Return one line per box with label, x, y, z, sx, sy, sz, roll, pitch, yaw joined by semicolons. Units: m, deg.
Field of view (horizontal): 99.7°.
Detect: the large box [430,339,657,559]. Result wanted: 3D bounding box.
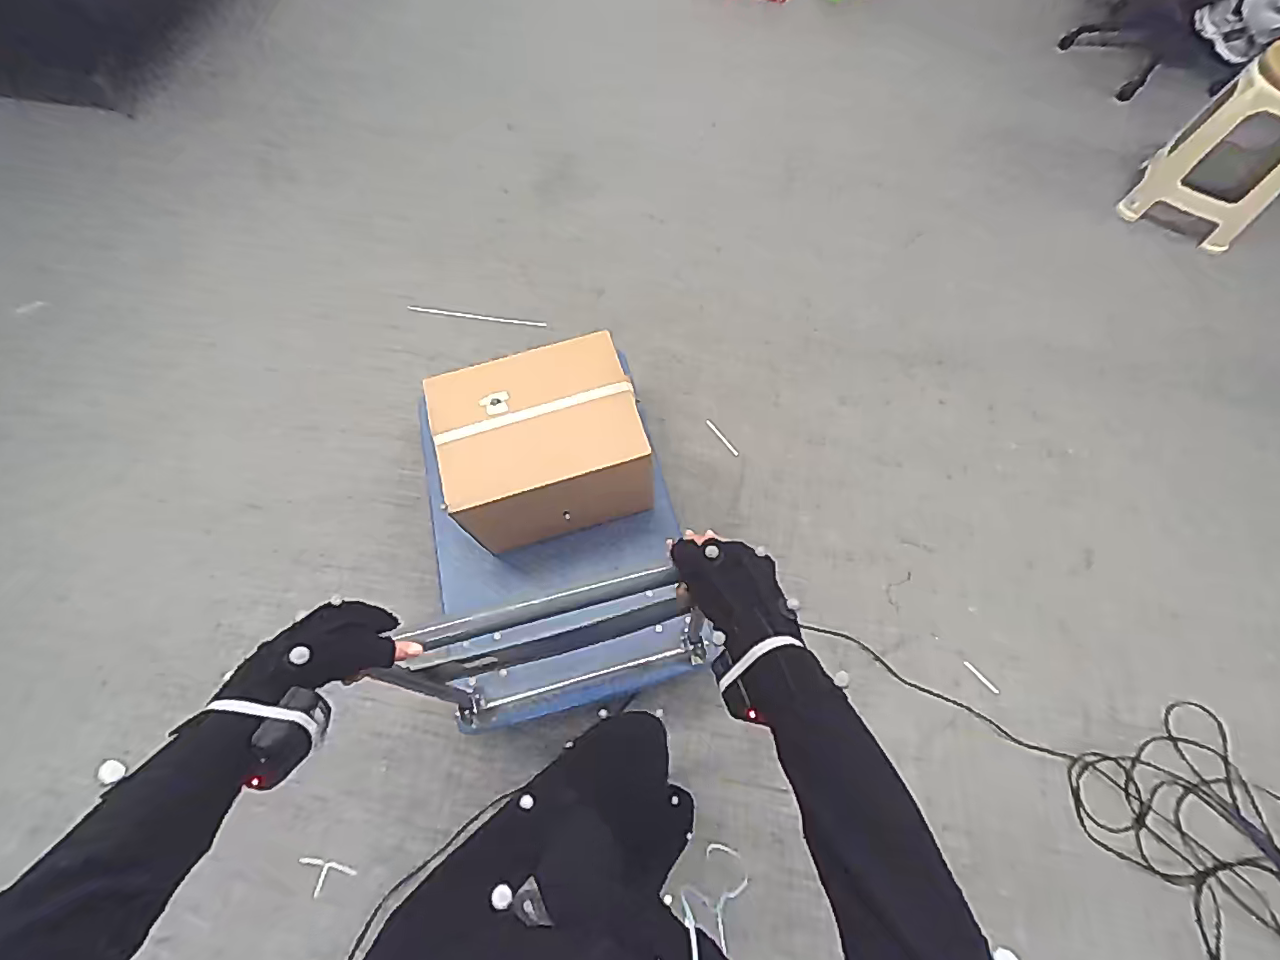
large box;-0.197;-0.054;1.226;0.408;0.320;0.320;-18;67;-5
